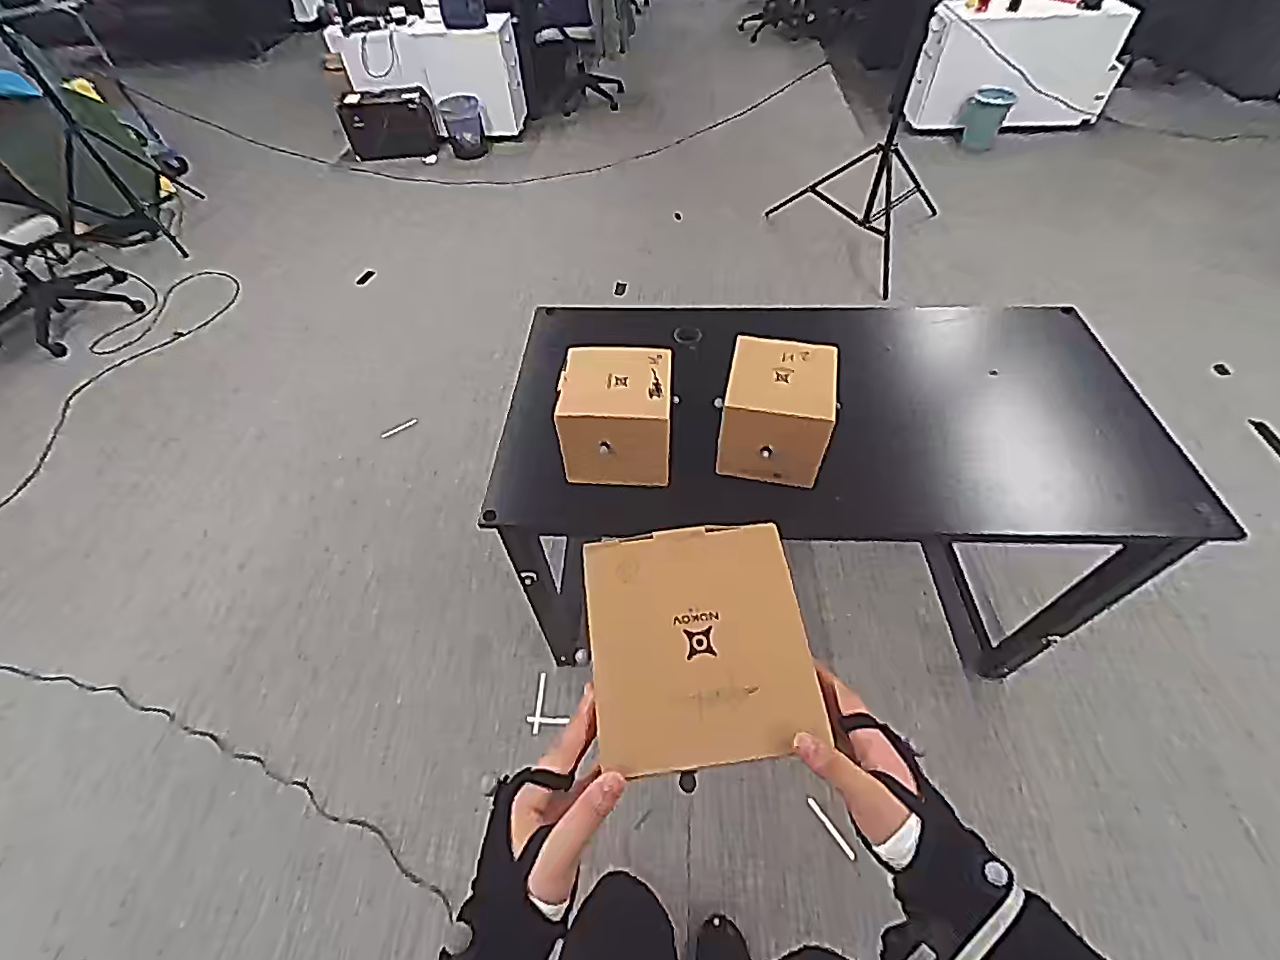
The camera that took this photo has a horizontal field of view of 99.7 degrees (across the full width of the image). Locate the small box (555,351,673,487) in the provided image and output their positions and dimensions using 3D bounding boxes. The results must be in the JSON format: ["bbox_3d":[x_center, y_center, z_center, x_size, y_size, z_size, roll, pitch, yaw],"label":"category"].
[{"bbox_3d":[-0.035,-0.102,0.927,0.179,0.176,0.168,1,52,4],"label":"small box"}]

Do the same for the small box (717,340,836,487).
[{"bbox_3d":[0.228,-0.110,0.922,0.168,0.176,0.179,10,52,9],"label":"small box"}]

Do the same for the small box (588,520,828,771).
[{"bbox_3d":[0.042,0.155,0.489,0.168,0.176,0.179,-6,62,-4],"label":"small box"}]
